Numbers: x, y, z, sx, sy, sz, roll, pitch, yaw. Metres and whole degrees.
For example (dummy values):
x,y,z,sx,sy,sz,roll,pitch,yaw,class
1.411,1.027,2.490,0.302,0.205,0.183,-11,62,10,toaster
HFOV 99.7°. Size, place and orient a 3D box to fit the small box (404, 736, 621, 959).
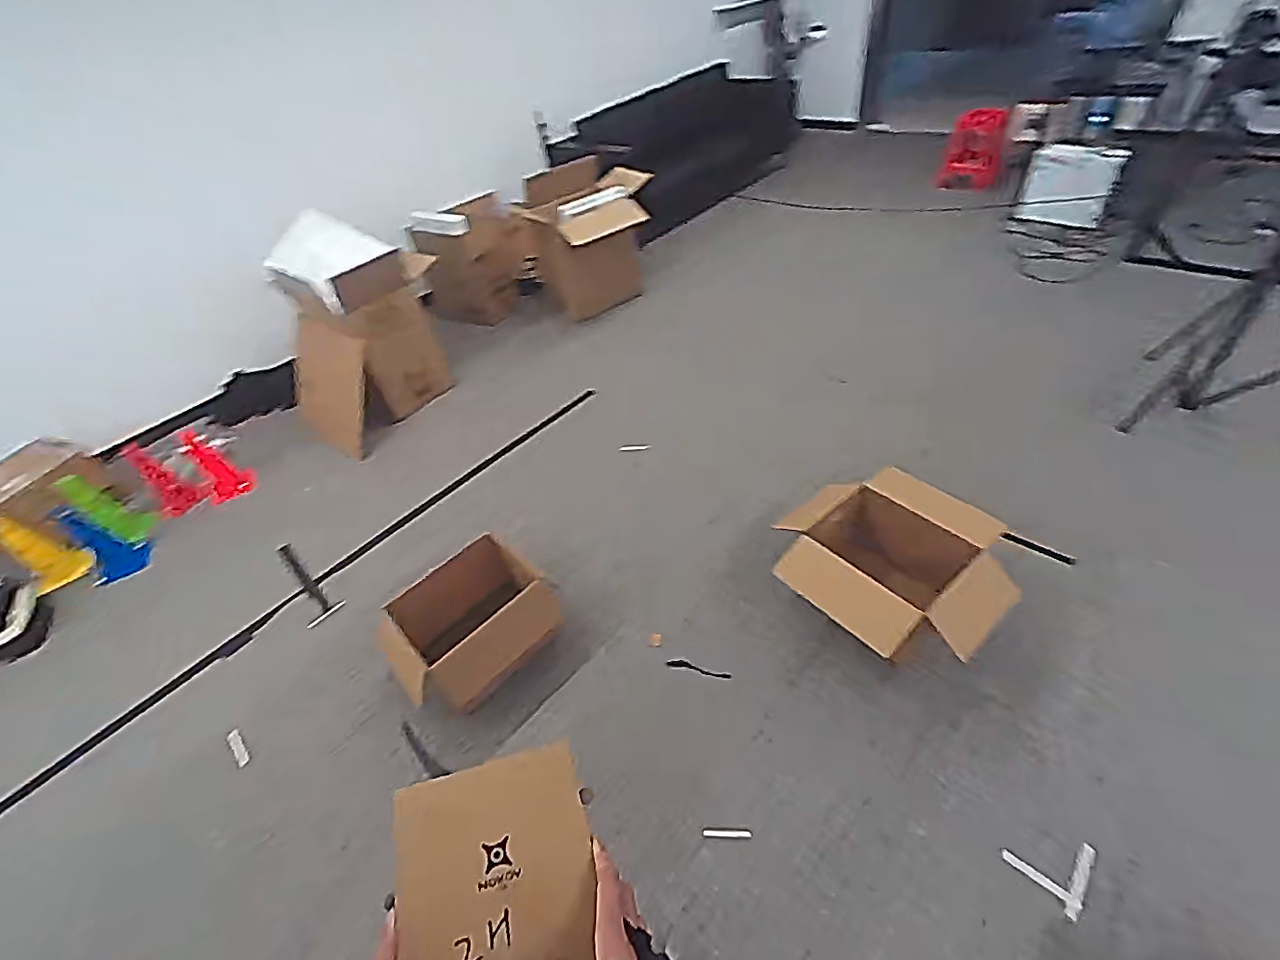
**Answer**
x,y,z,sx,sy,sz,roll,pitch,yaw,class
-0.126,0.385,0.521,0.168,0.176,0.179,-9,46,-17,small box
